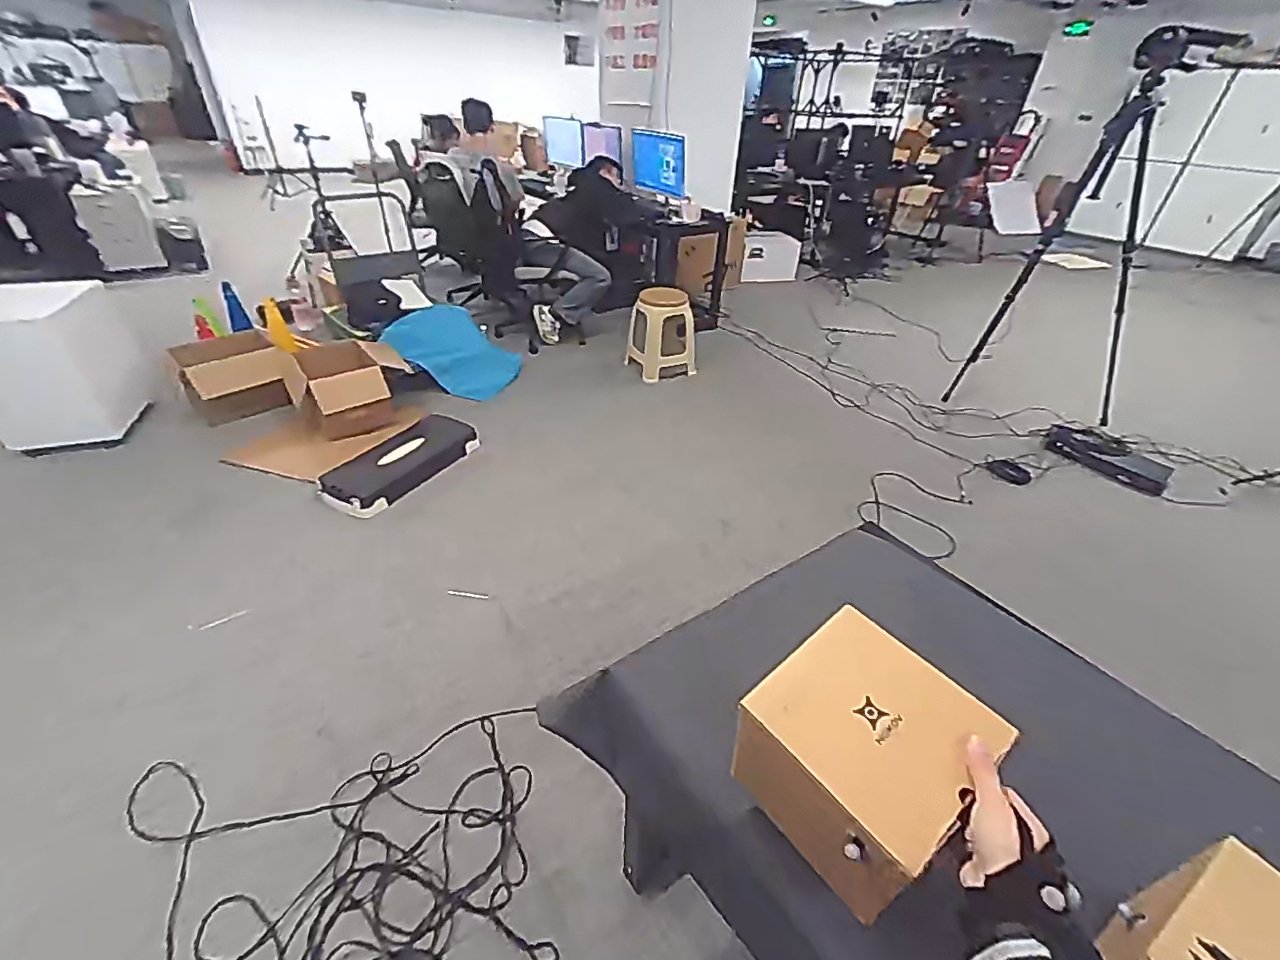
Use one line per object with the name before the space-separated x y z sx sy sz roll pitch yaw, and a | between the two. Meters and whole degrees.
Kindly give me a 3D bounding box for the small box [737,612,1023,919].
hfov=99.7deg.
small box | 0.212 0.273 0.526 0.168 0.176 0.179 -31 49 -27
